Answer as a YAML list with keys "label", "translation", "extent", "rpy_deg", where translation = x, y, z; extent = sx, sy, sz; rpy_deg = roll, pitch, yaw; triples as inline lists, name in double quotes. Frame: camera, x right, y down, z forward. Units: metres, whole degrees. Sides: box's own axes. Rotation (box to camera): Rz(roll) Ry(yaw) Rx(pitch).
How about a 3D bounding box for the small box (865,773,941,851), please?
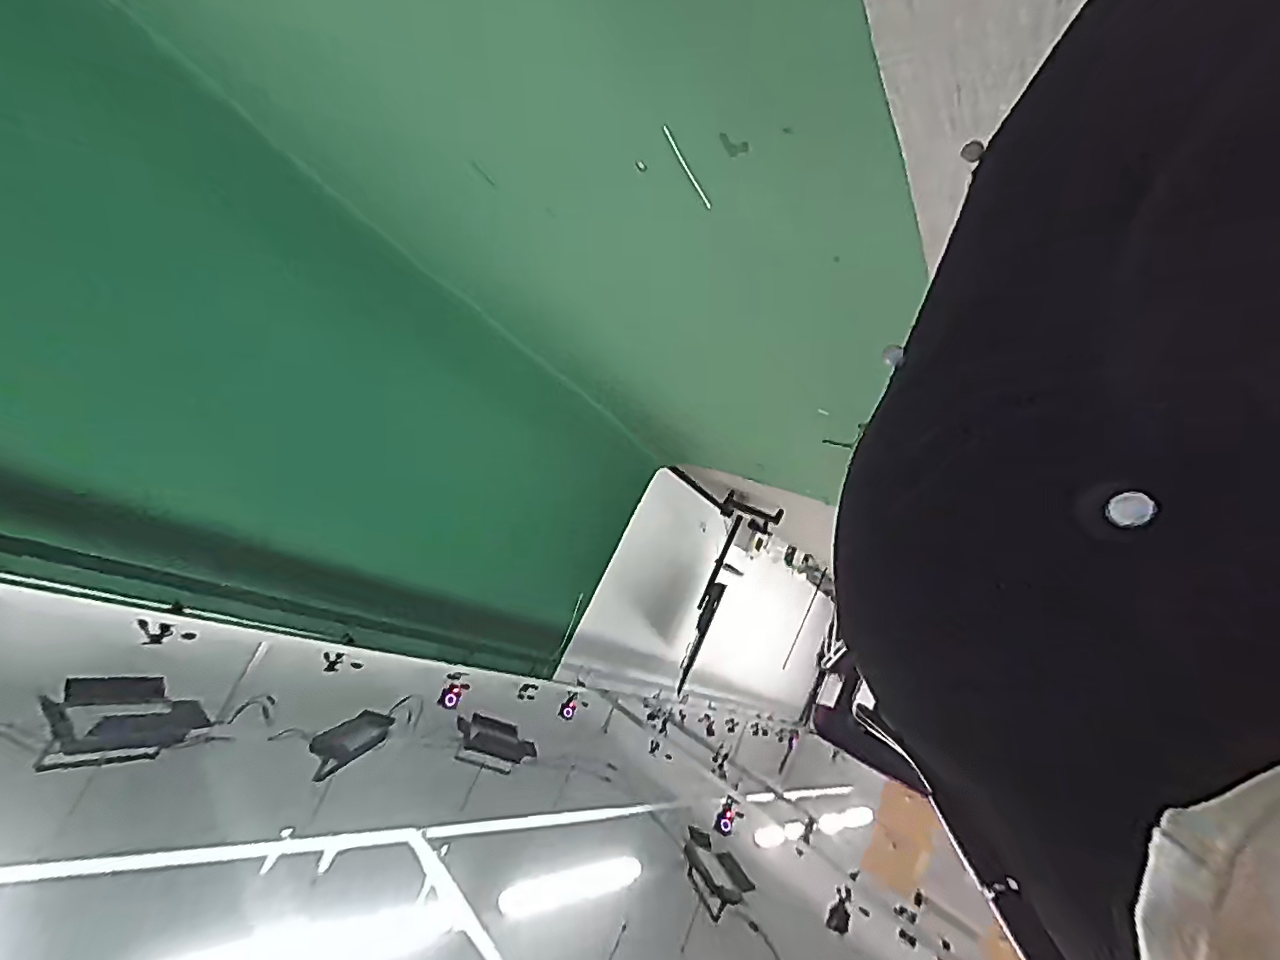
- label: "small box"
  translation: [0.931, 1.162, 1.907]
  extent: [0.179, 0.176, 0.168]
  rpy_deg: [19, 170, 43]

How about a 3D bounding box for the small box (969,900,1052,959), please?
- label: "small box"
  translation: [1.124, 1.400, 1.637]
  extent: [0.168, 0.176, 0.179]
  rpy_deg: [20, 170, 42]

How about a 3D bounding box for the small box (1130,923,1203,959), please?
- label: "small box"
  translation: [1.416, 1.328, 1.423]
  extent: [0.179, 0.176, 0.168]
  rpy_deg: [20, 169, 46]
